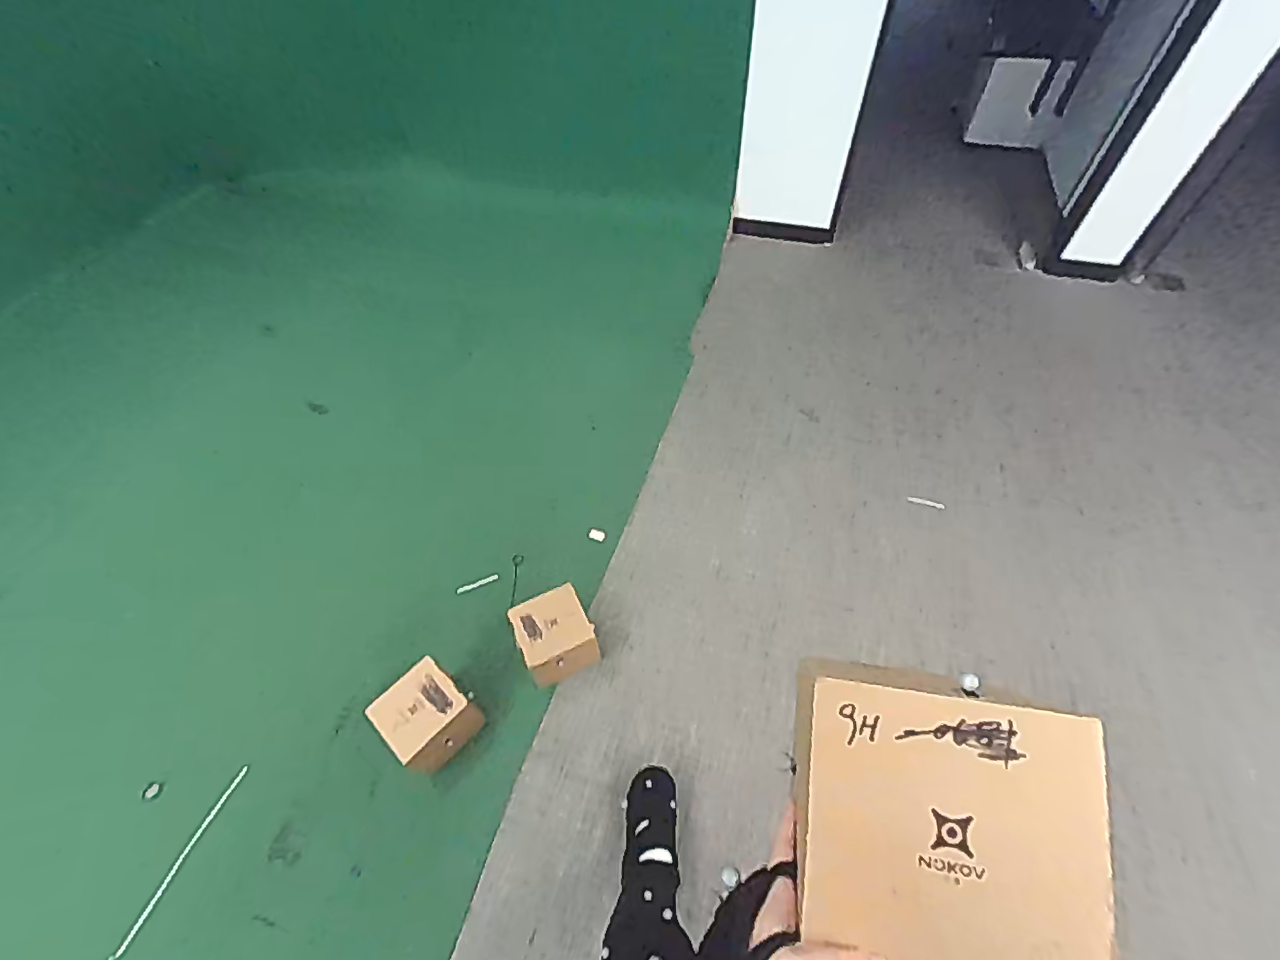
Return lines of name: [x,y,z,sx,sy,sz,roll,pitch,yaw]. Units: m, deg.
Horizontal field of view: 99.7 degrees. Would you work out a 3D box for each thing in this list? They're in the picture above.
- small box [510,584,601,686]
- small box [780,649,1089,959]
small box: [-0.214,0.405,1.398,0.179,0.176,0.168,-22,55,-15]
small box: [0.196,0.233,0.407,0.168,0.176,0.179,4,78,13]
